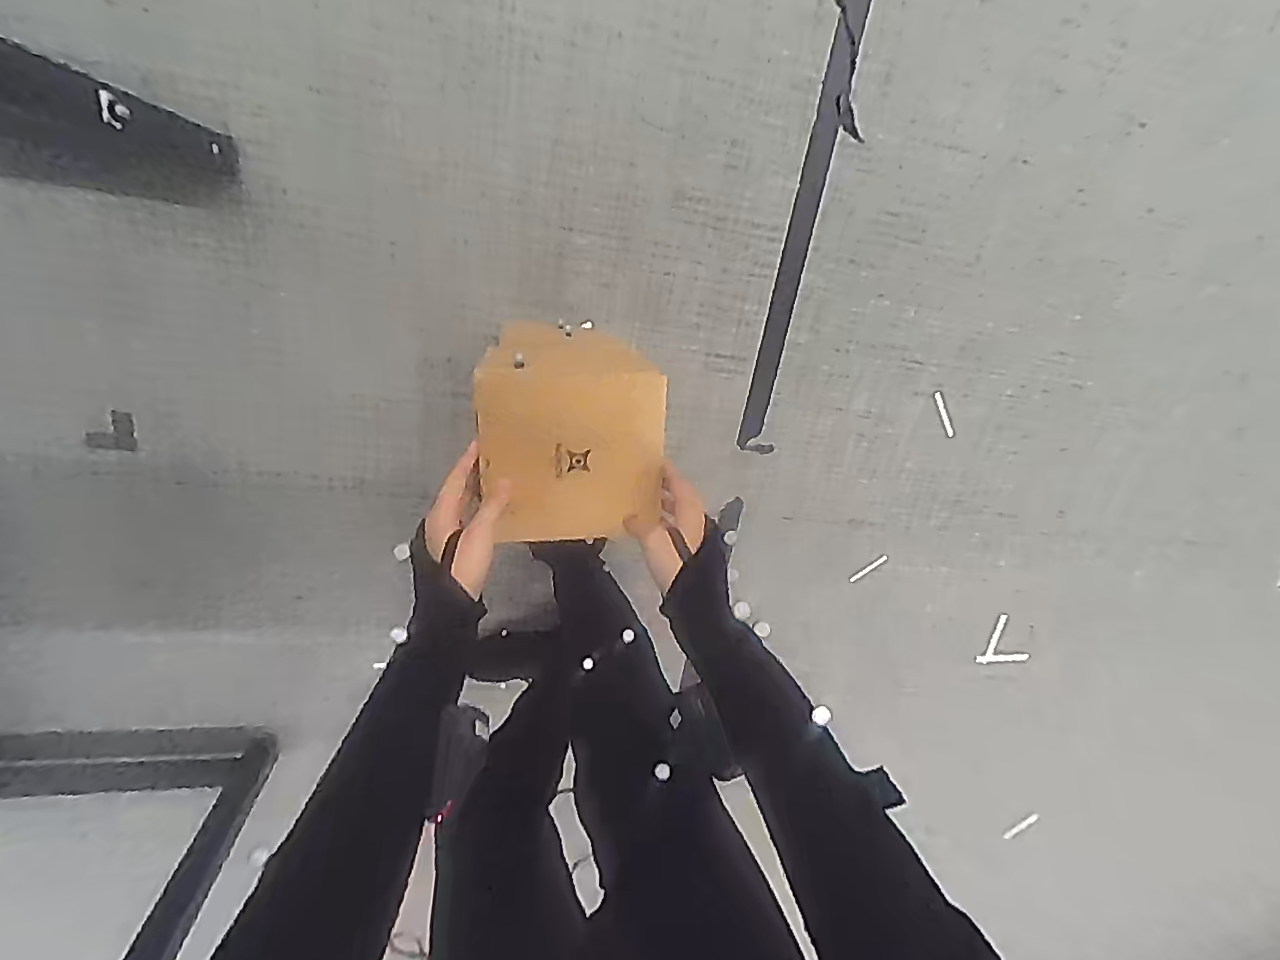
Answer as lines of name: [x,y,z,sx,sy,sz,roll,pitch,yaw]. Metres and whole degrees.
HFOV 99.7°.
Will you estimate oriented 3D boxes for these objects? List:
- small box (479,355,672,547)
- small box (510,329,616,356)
small box: [-0.072,-0.042,0.584,0.179,0.176,0.168,-2,110,-9]
small box: [-0.142,-0.160,0.931,0.168,0.176,0.179,3,109,-12]
